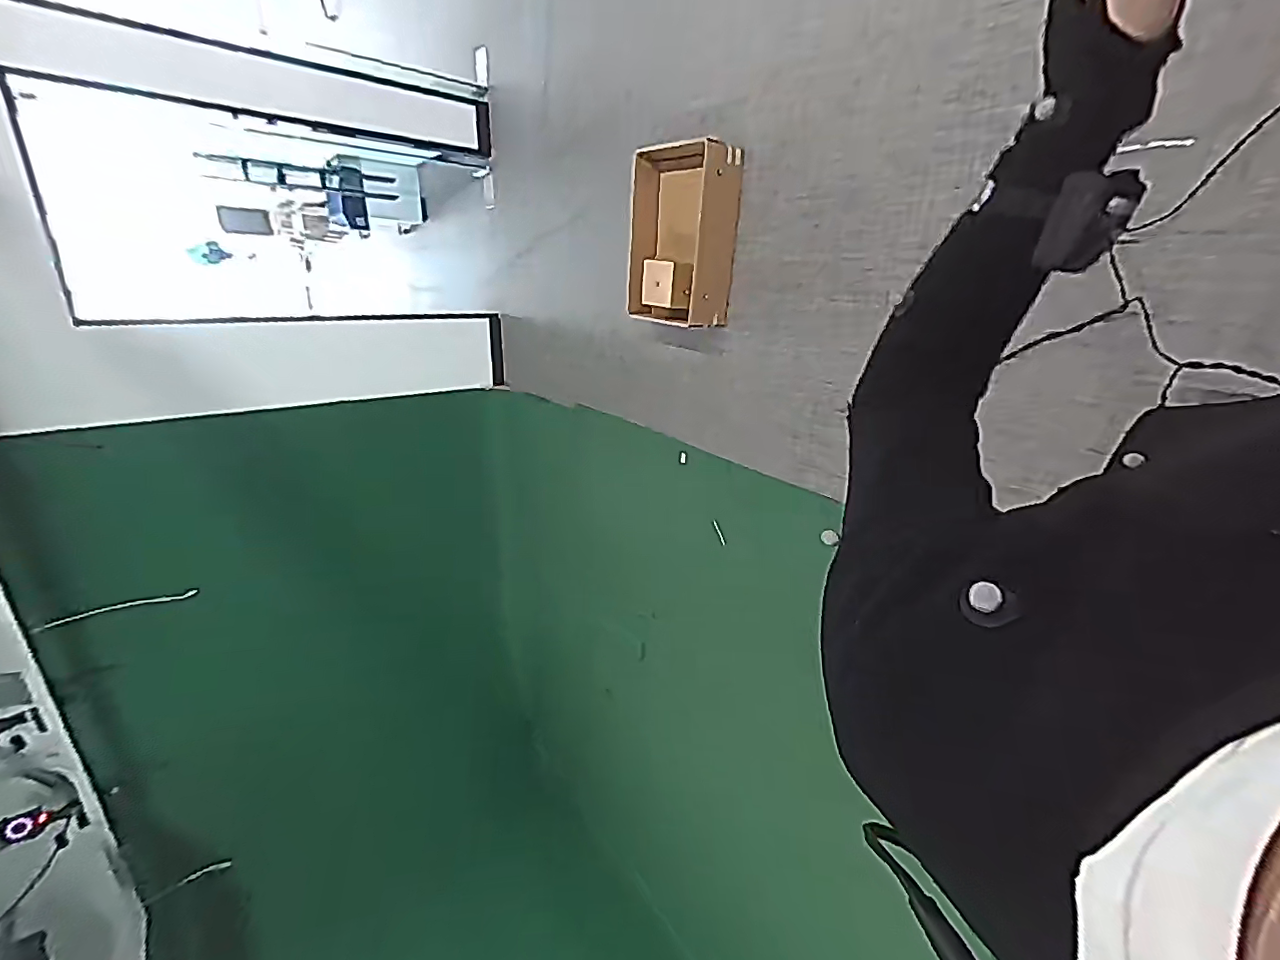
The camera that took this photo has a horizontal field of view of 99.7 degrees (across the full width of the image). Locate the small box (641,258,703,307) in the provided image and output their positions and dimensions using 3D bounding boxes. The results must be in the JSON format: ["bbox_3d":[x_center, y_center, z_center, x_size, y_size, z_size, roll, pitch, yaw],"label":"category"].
[{"bbox_3d":[0.125,-0.772,2.108,0.179,0.176,0.168,29,123,46],"label":"small box"}]
